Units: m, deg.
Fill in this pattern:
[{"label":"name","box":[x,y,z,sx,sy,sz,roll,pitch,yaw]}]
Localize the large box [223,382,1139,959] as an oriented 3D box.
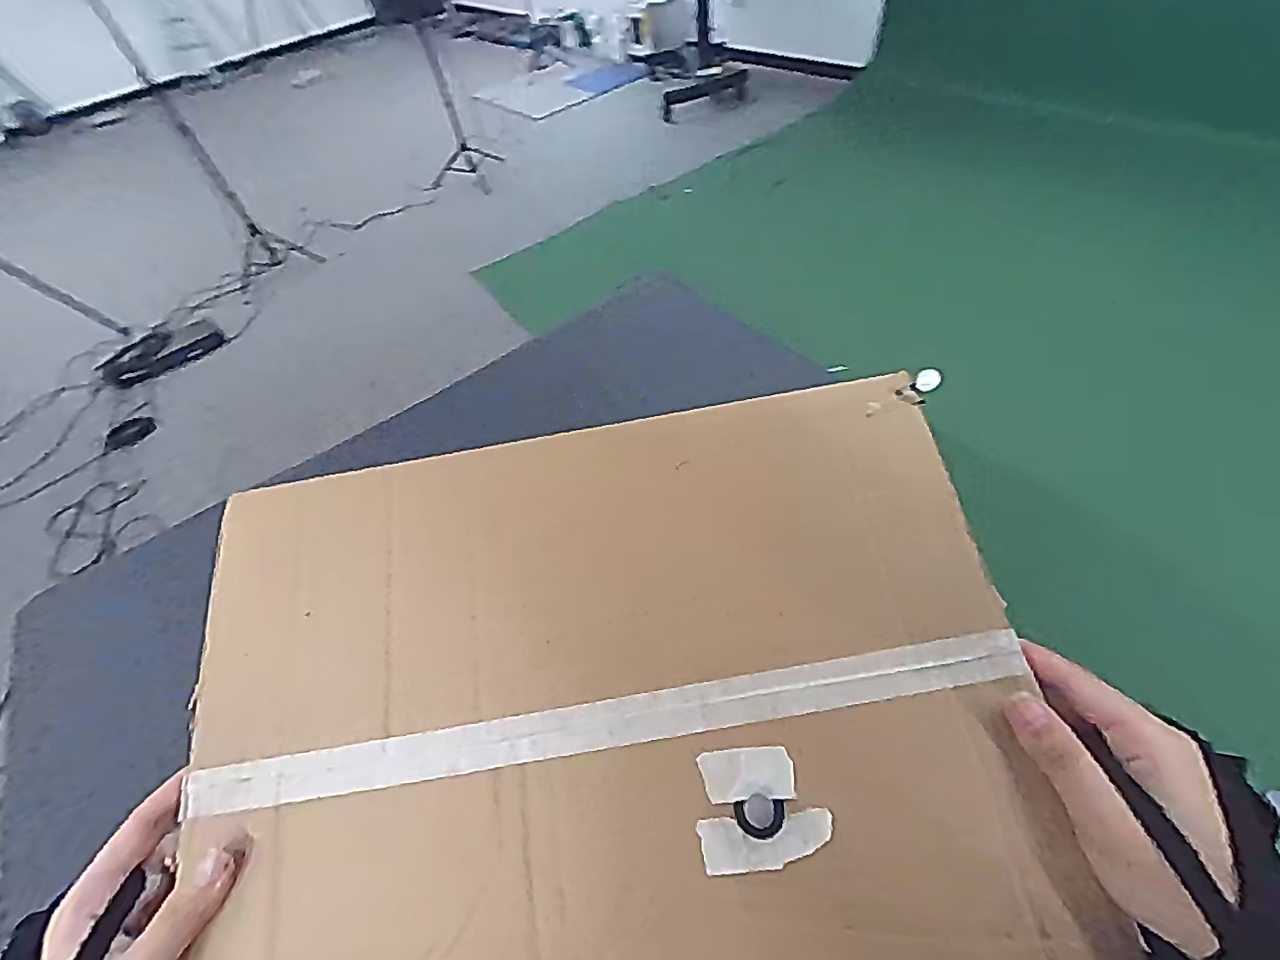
[{"label":"large box","box":[0.001,0.168,0.415,0.408,0.320,0.320,-10,69,0]}]
